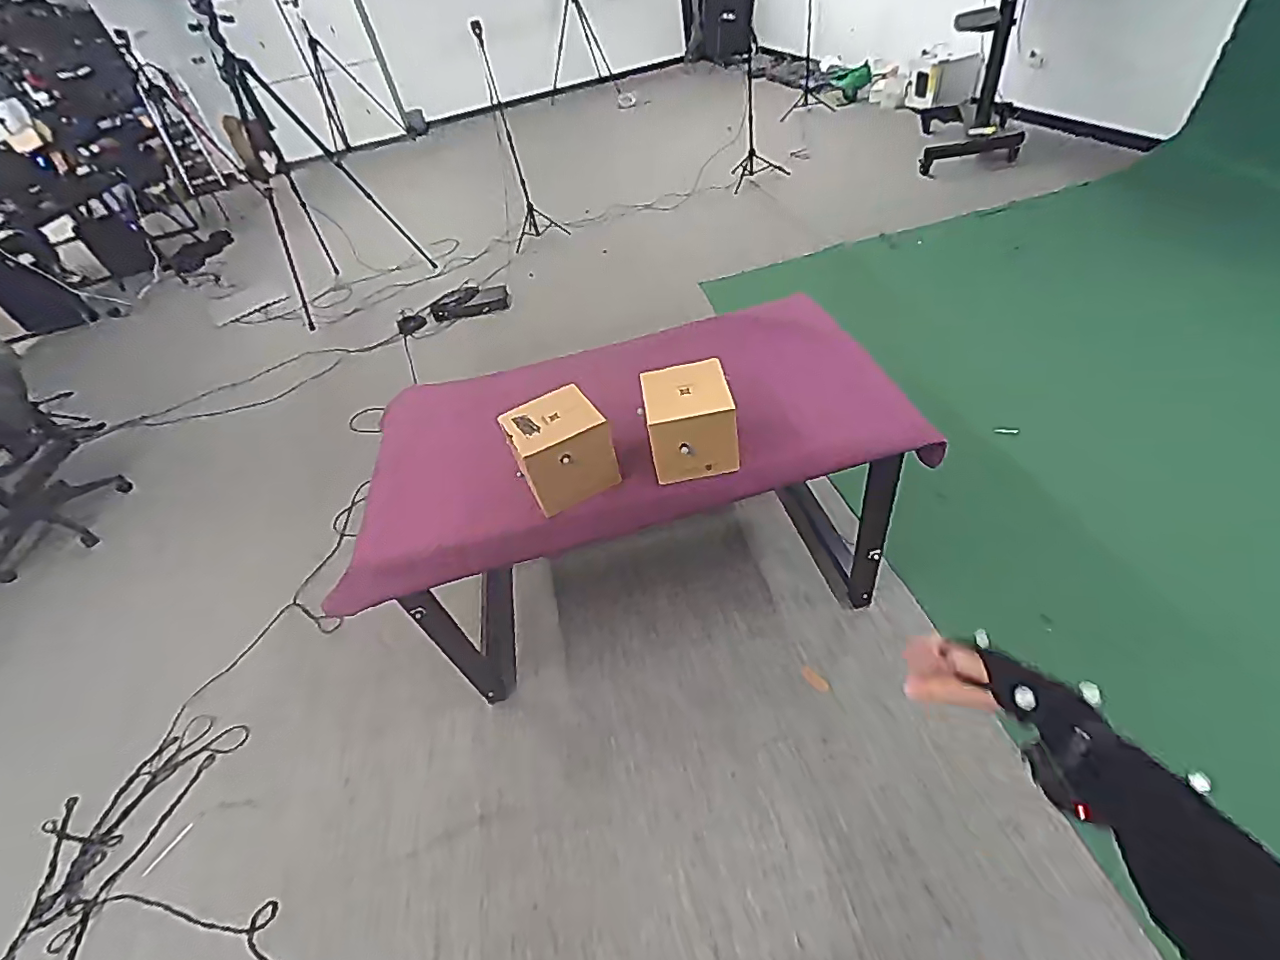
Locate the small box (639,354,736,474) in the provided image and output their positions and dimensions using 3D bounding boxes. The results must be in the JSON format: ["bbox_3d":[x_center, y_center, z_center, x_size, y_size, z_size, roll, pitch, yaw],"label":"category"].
[{"bbox_3d":[0.098,-0.127,1.107,0.168,0.176,0.179,-11,44,3],"label":"small box"}]

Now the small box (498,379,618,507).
[{"bbox_3d":[-0.165,-0.073,1.113,0.179,0.176,0.168,-26,45,-14],"label":"small box"}]
